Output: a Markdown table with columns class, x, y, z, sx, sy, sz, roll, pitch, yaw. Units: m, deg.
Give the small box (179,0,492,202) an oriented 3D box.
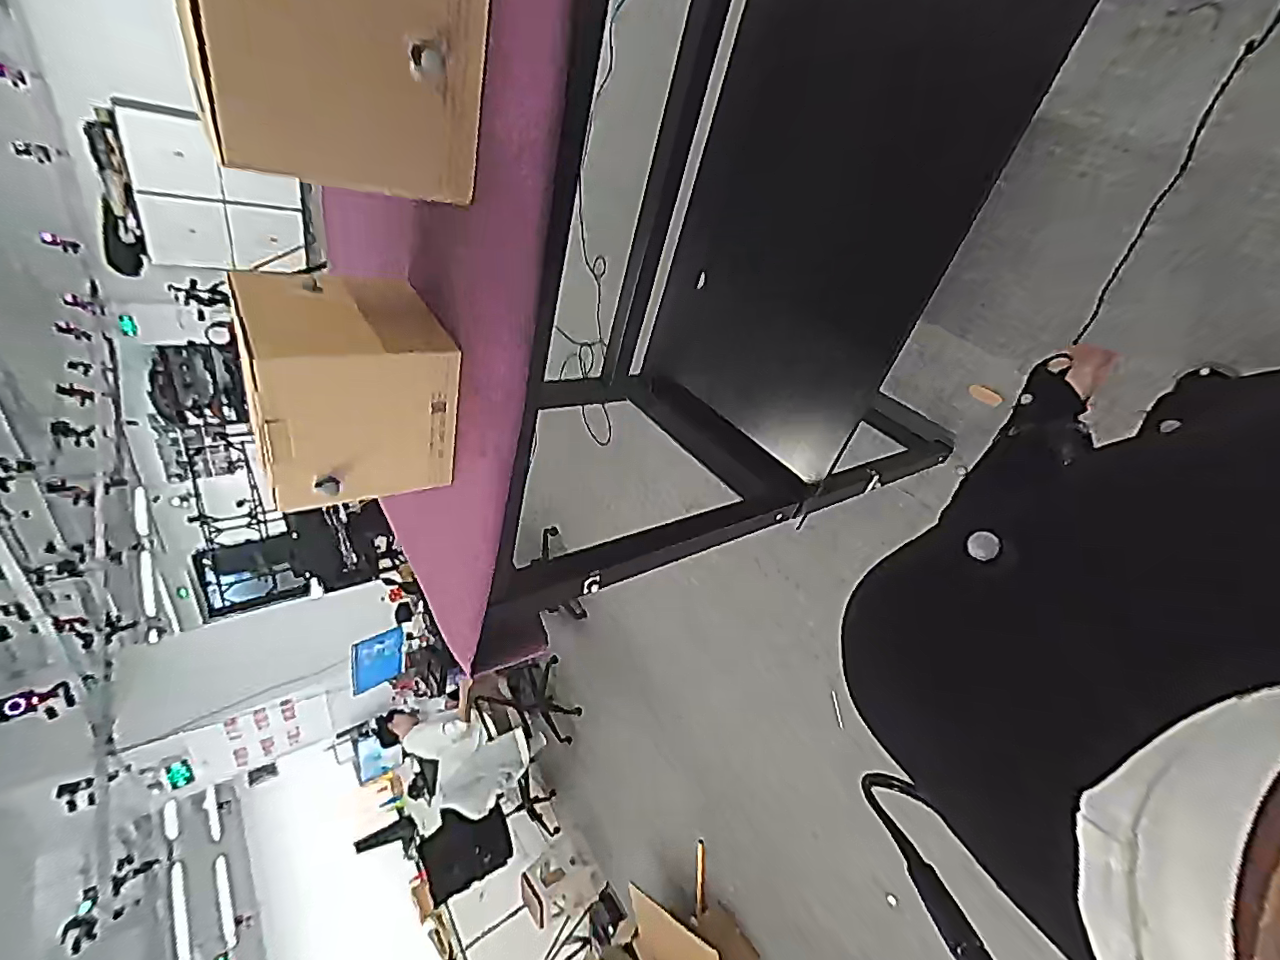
| class | x | y | z | sx | sy | sz | roll | pitch | yaw |
| --- | --- | --- | --- | --- | --- | --- | --- | --- | --- |
| small box | -0.219 | -0.327 | 0.391 | 0.168 | 0.176 | 0.179 | 47 | 133 | 36 |
